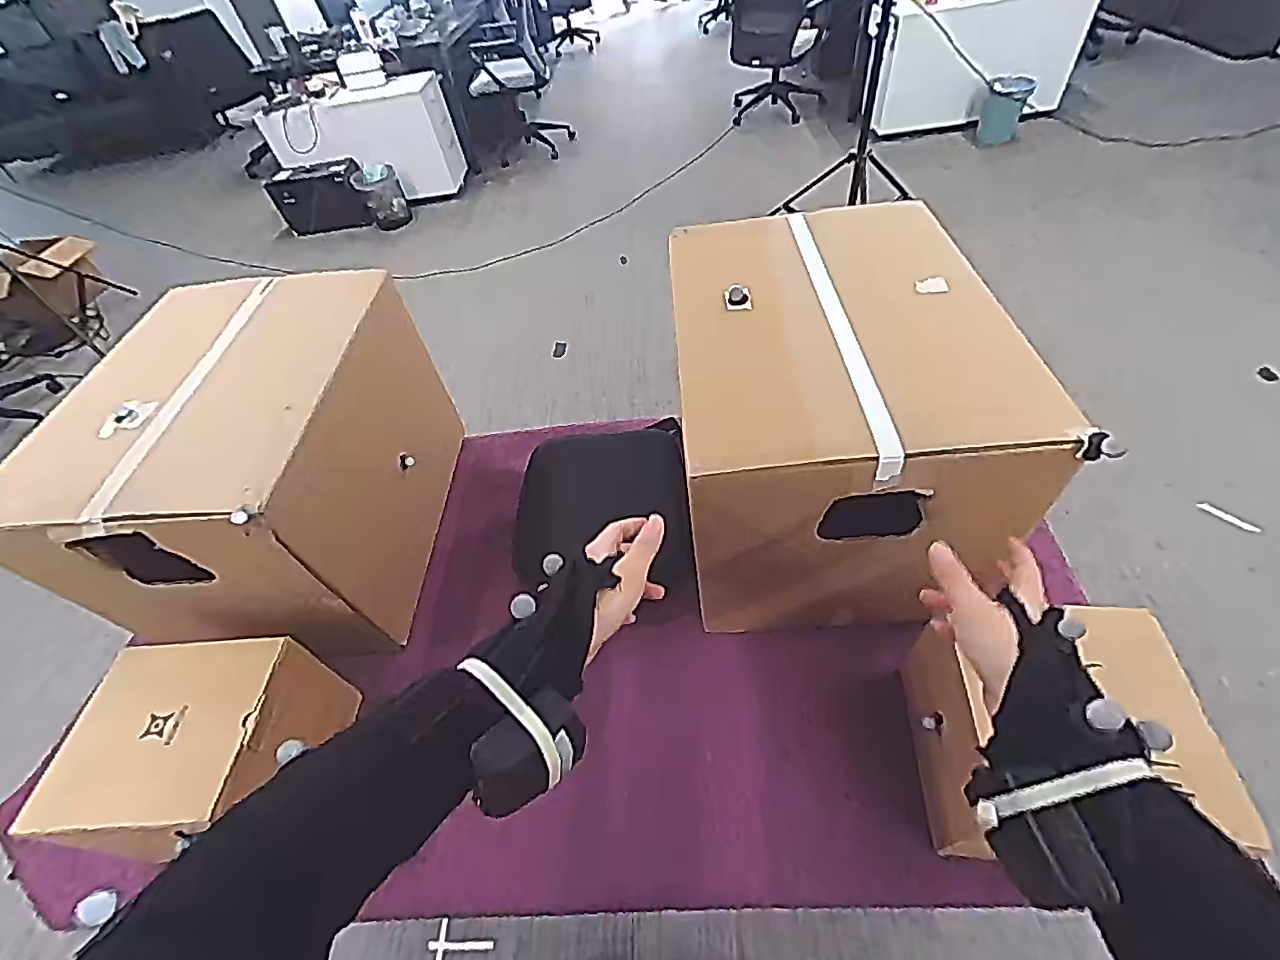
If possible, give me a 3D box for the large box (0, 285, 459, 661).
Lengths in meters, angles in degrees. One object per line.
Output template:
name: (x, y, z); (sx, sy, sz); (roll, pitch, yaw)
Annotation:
large box: (-0.473, -0.008, 0.734); (0.320, 0.320, 0.408); (-5, 52, 4)
